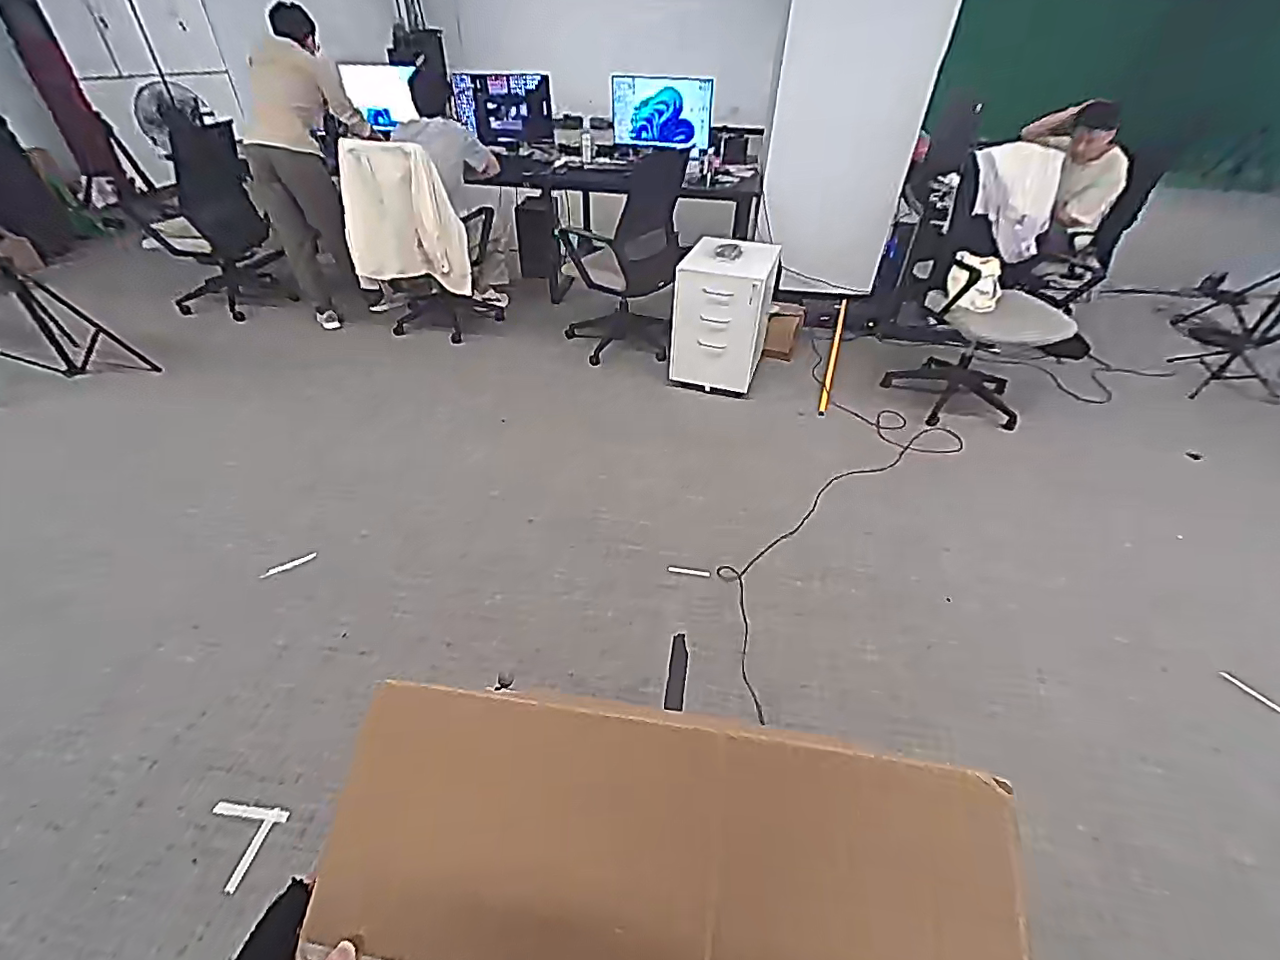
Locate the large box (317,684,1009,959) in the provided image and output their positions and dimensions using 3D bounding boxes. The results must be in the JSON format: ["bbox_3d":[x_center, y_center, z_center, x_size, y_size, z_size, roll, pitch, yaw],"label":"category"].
[{"bbox_3d":[0.012,0.359,0.440,0.408,0.320,0.320,5,69,8],"label":"large box"}]
